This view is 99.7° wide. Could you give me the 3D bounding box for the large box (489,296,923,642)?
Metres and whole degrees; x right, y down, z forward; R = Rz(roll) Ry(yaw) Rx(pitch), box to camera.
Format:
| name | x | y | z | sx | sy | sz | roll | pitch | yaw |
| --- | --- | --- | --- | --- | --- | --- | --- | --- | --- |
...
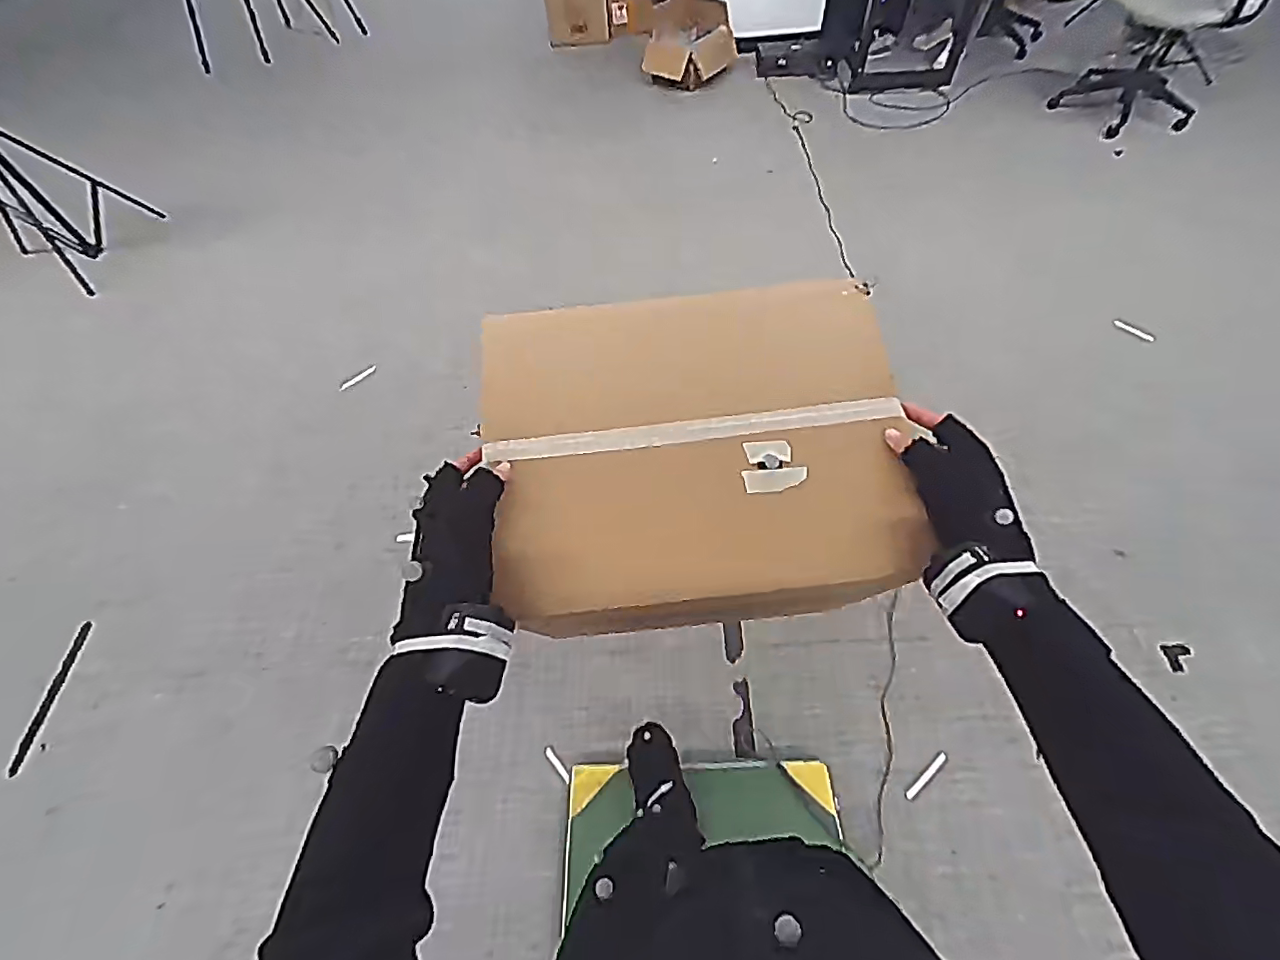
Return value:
| name | x | y | z | sx | sy | sz | roll | pitch | yaw |
| --- | --- | --- | --- | --- | --- | --- | --- | --- | --- |
| large box | 0.050 | 0.012 | 0.683 | 0.408 | 0.320 | 0.320 | -7 | 70 | -1 |
